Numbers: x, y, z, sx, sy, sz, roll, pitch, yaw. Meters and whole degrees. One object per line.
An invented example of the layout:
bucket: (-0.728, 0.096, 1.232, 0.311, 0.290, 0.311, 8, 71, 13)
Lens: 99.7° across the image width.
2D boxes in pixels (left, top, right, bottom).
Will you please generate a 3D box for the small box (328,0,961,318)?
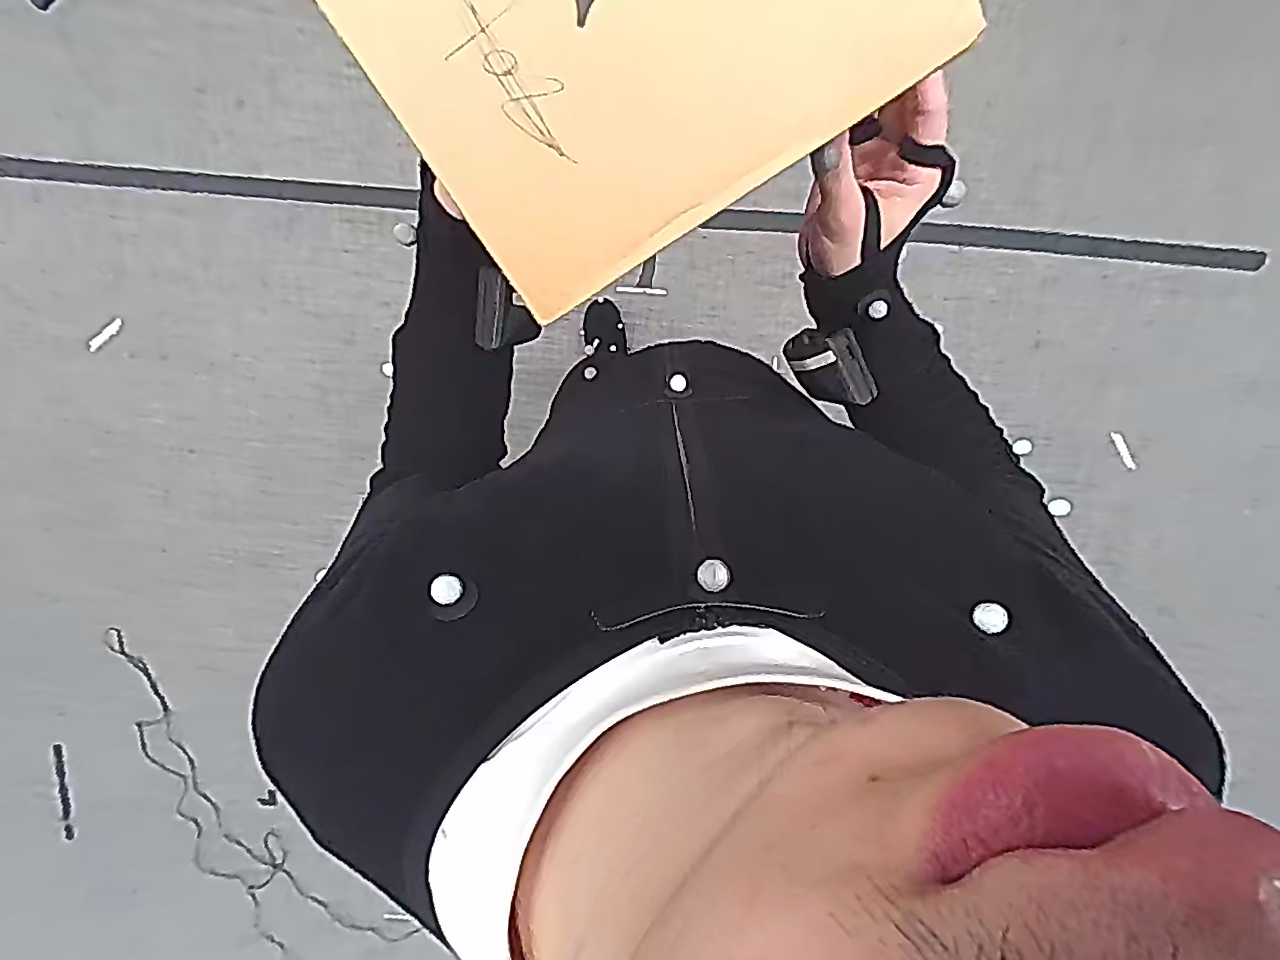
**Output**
small box: (0.001, -0.206, 0.241, 0.179, 0.176, 0.168, -25, 113, 24)
